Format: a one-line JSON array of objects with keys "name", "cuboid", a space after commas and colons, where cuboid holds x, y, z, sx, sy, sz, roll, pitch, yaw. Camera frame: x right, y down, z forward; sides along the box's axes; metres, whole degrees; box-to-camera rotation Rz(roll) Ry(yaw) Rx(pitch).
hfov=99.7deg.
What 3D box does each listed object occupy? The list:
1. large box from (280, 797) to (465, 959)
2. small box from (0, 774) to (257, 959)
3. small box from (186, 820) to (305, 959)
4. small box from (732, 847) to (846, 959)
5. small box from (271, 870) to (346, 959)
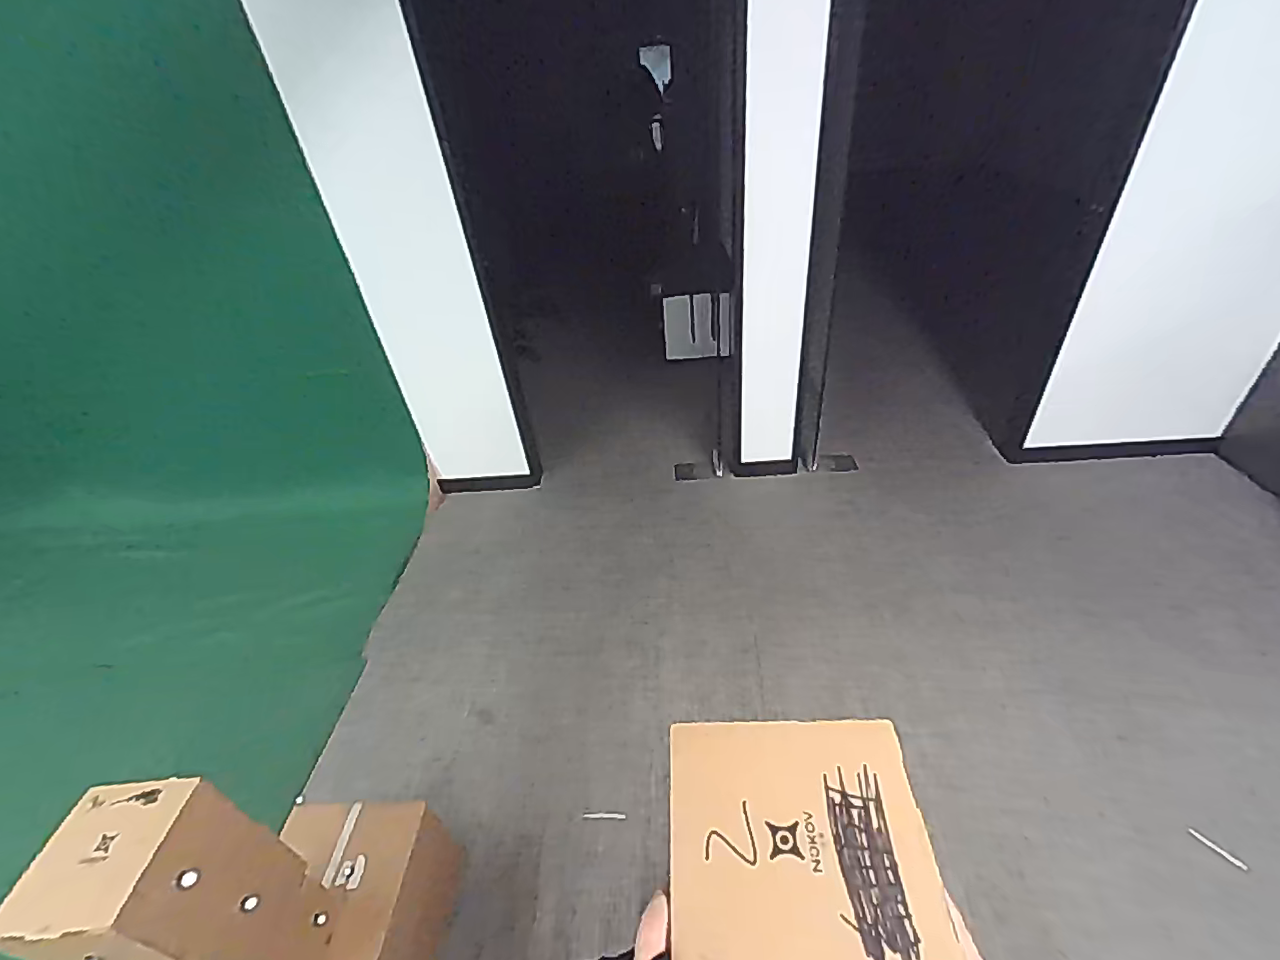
[{"name": "large box", "cuboid": [-0.609, 0.954, 1.139, 0.320, 0.320, 0.408, -3, 36, 5]}, {"name": "small box", "cuboid": [-0.682, 0.538, 0.747, 0.168, 0.176, 0.179, -5, 37, 2]}, {"name": "small box", "cuboid": [-0.667, 0.669, 0.846, 0.168, 0.176, 0.179, -6, 36, 0]}, {"name": "small box", "cuboid": [0.236, 0.738, 0.879, 0.168, 0.176, 0.179, 1, 35, 10]}, {"name": "small box", "cuboid": [-0.652, 0.803, 0.938, 0.179, 0.176, 0.168, -5, 36, 4]}]
